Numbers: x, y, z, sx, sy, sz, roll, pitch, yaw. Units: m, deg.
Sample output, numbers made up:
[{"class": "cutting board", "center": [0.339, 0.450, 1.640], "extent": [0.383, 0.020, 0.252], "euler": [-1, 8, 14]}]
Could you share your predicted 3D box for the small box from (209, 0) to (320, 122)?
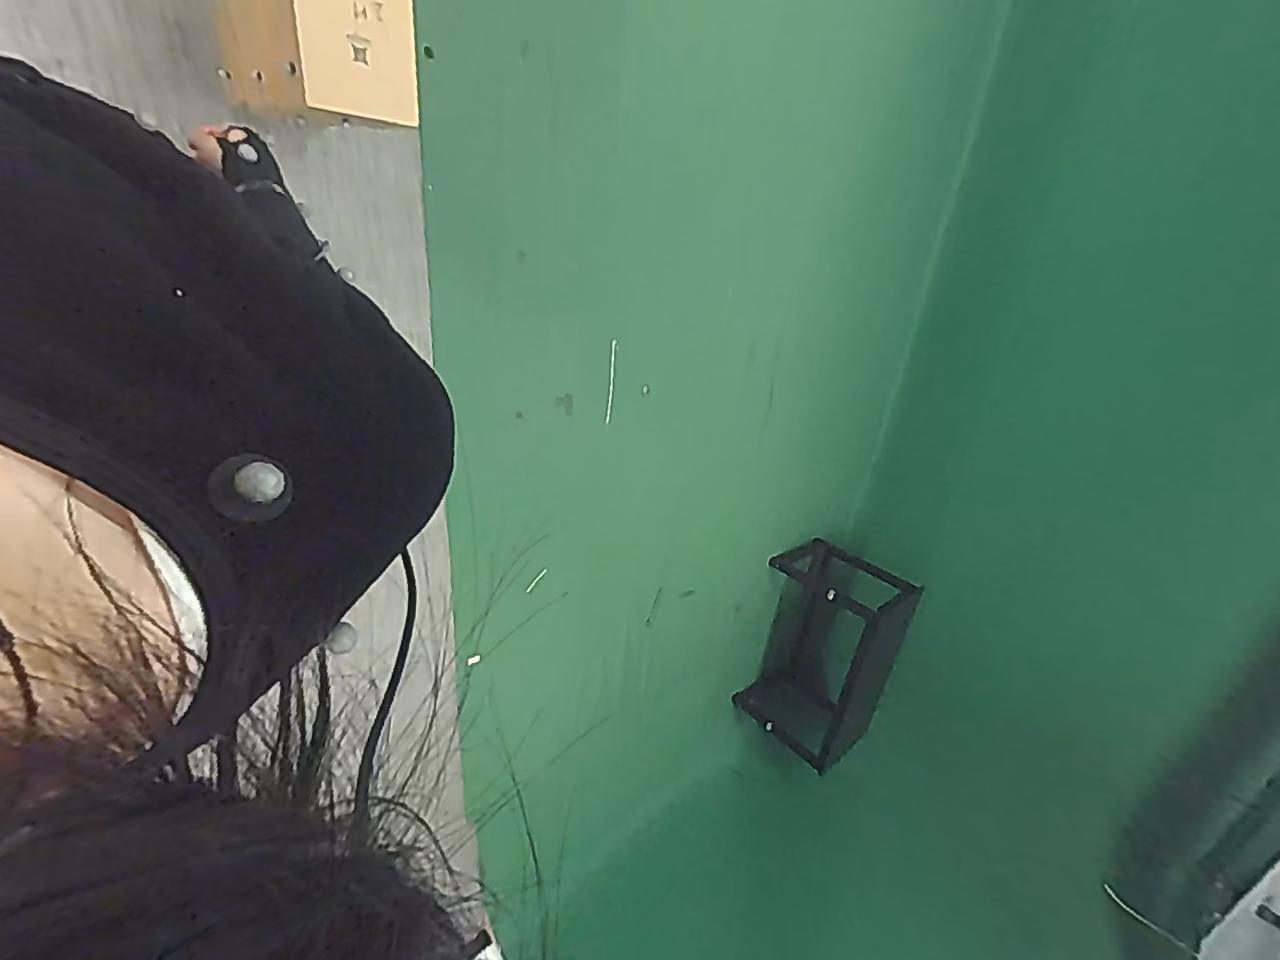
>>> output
[{"class": "small box", "center": [-0.702, -0.802, 1.037], "extent": [0.179, 0.176, 0.168], "euler": [-14, 122, -41]}]

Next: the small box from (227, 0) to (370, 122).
[{"class": "small box", "center": [-0.591, -0.740, 0.937], "extent": [0.168, 0.176, 0.179], "euler": [-17, 125, -39]}]
